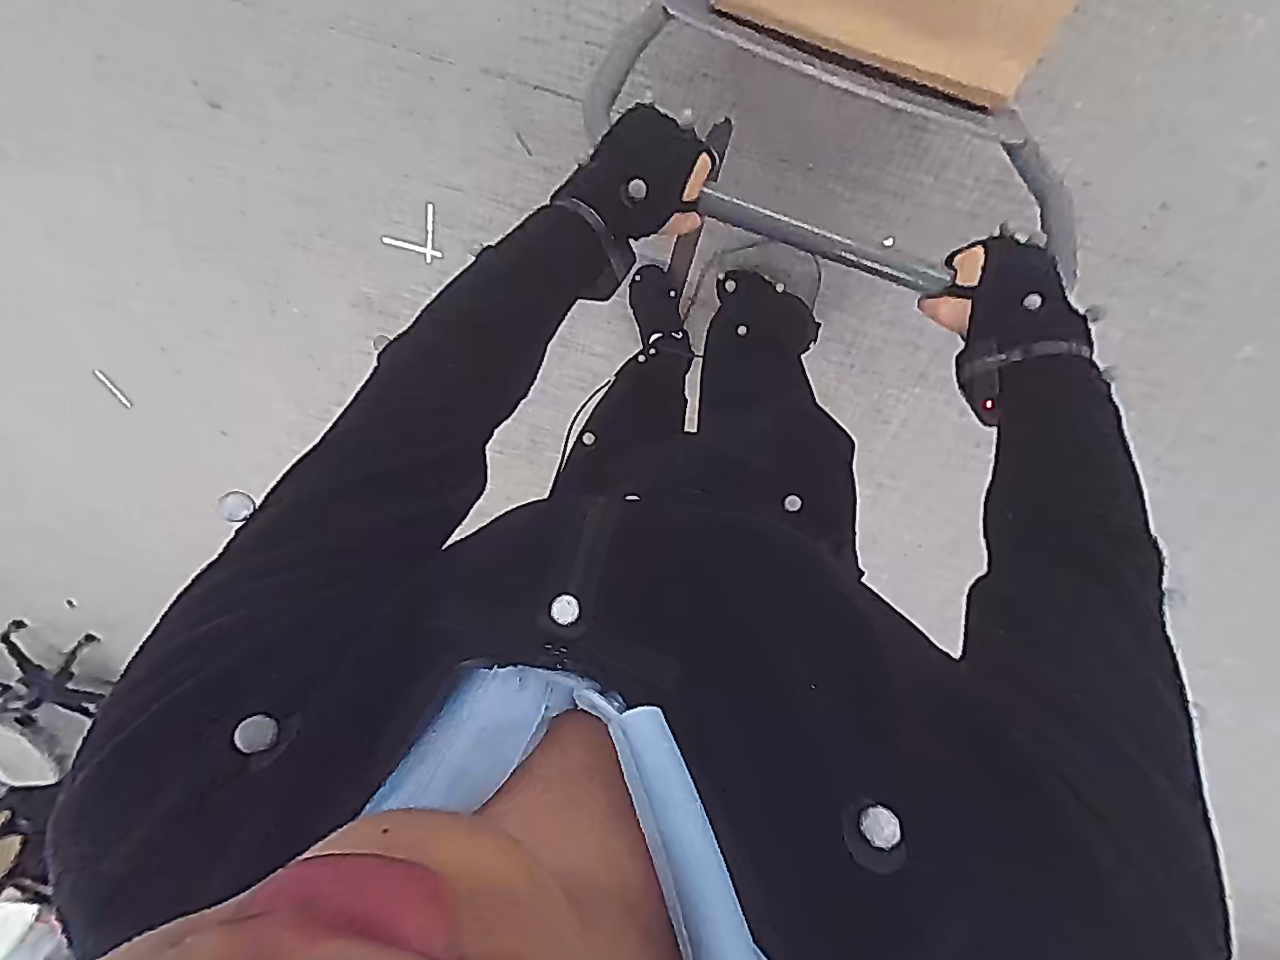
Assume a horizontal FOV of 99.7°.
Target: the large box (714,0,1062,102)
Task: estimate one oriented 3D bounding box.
[{"bbox_3d":[0.341,-0.752,0.692,0.408,0.320,0.320,17,137,-3],"label":"large box"}]
